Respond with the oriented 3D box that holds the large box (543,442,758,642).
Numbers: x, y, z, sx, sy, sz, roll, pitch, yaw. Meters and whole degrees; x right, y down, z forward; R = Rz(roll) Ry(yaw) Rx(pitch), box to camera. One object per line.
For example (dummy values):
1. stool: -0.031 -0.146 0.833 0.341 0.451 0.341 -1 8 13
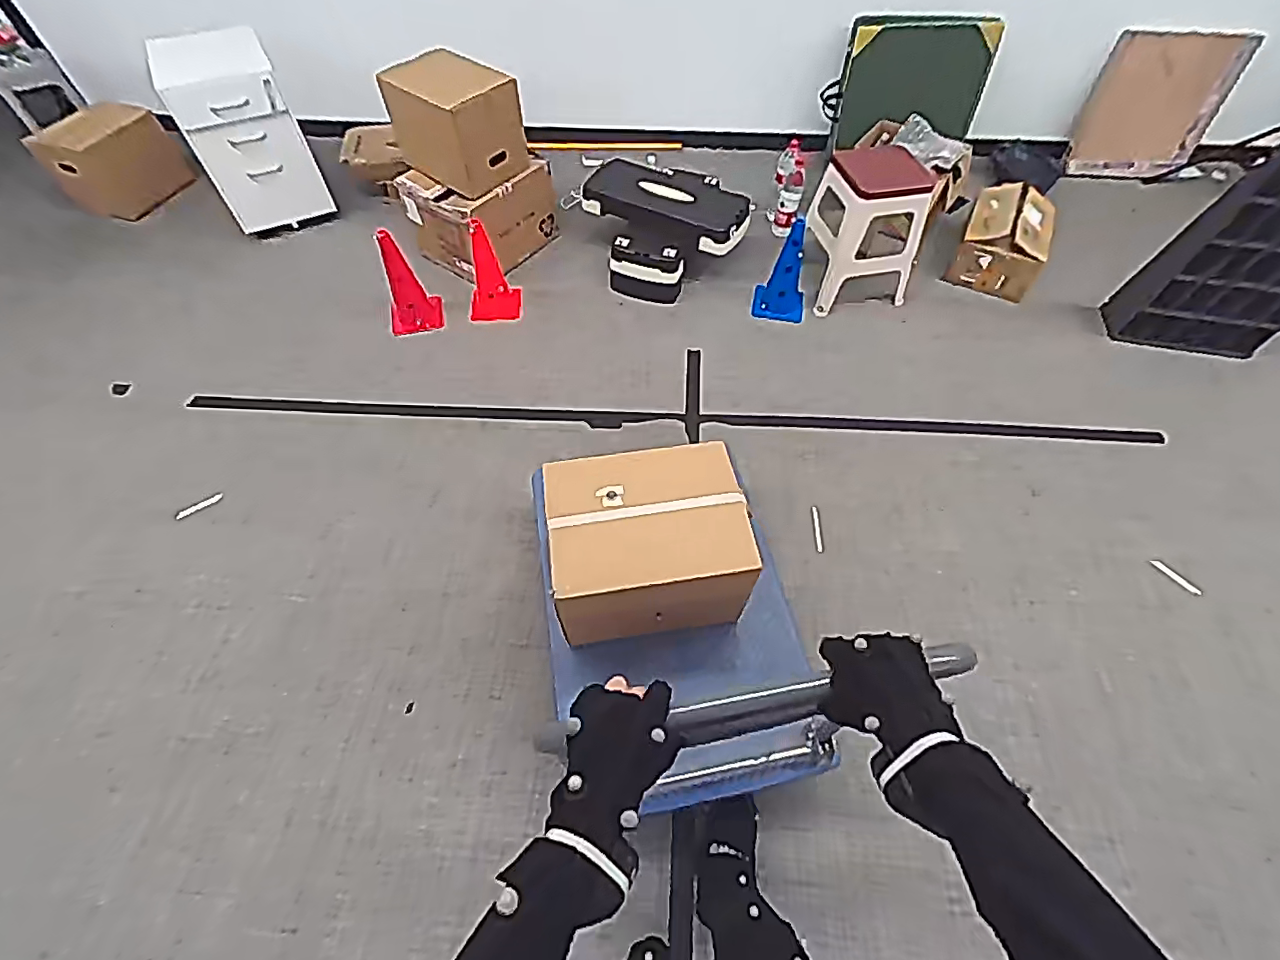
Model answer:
1. large box: 0.013 0.149 1.231 0.408 0.320 0.320 -8 57 -5
